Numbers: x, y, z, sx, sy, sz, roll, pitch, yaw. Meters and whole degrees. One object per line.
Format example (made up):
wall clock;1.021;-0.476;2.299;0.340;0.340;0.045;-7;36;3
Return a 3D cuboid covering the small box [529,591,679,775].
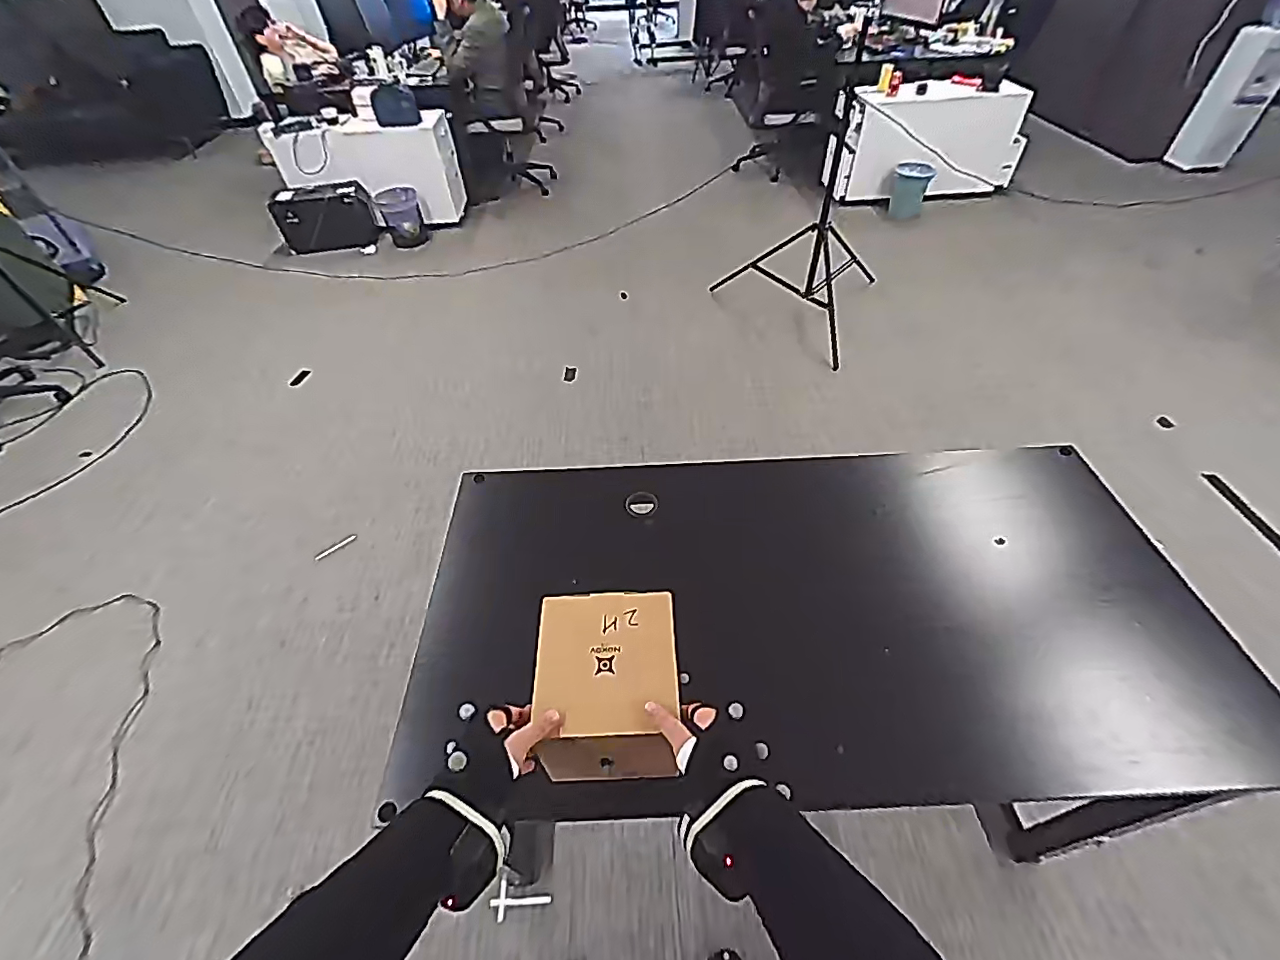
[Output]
small box;-0.037;0.265;0.694;0.168;0.176;0.179;-3;46;0
